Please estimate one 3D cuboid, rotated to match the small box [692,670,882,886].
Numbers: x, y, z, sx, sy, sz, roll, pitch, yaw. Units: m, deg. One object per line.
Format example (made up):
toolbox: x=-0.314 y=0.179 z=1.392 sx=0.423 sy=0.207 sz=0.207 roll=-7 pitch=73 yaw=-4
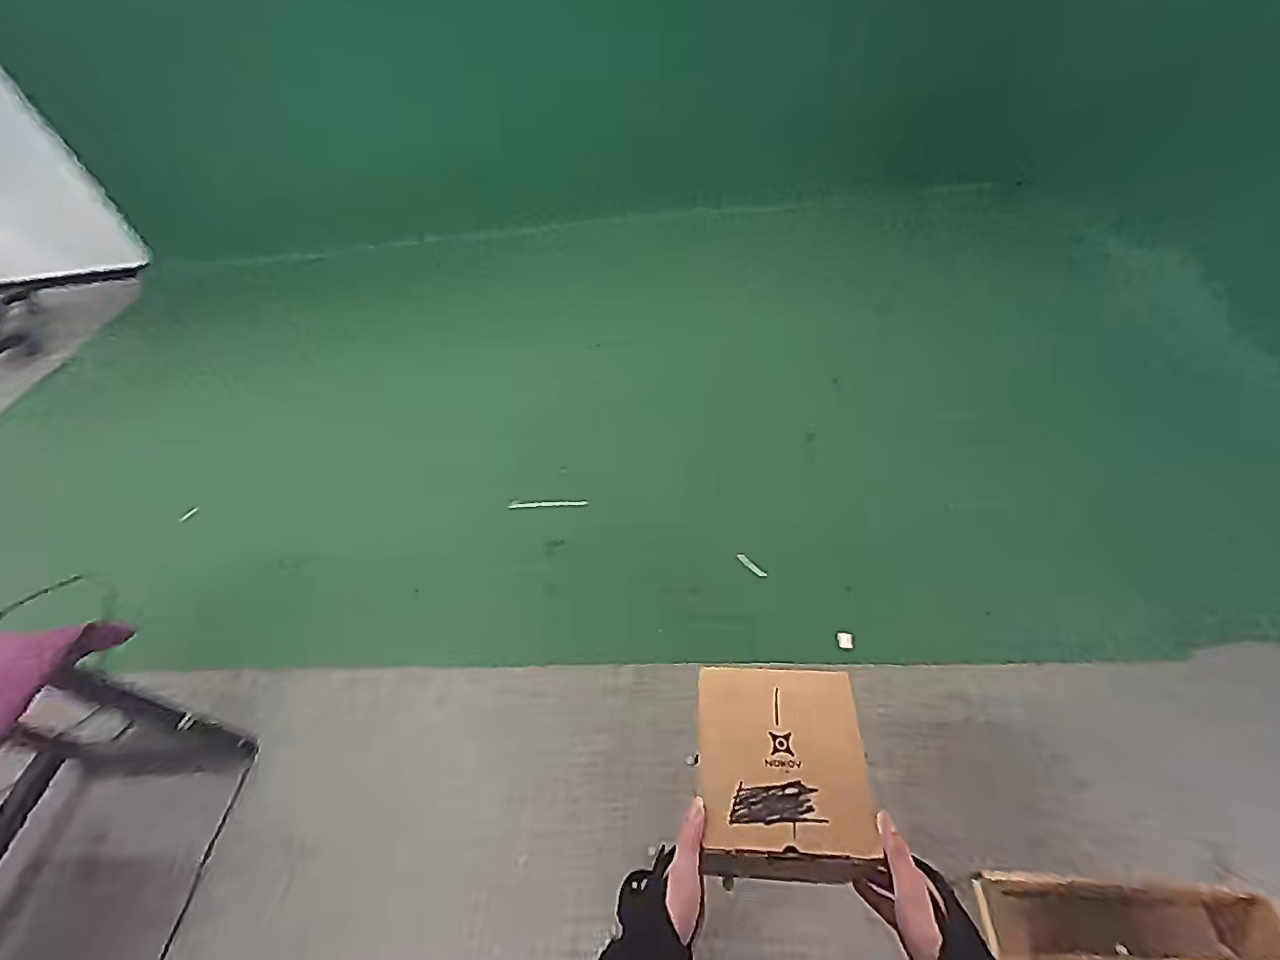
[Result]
small box: x=0.142 y=0.329 z=0.595 sx=0.168 sy=0.176 sz=0.179 roll=0 pitch=47 yaw=4
